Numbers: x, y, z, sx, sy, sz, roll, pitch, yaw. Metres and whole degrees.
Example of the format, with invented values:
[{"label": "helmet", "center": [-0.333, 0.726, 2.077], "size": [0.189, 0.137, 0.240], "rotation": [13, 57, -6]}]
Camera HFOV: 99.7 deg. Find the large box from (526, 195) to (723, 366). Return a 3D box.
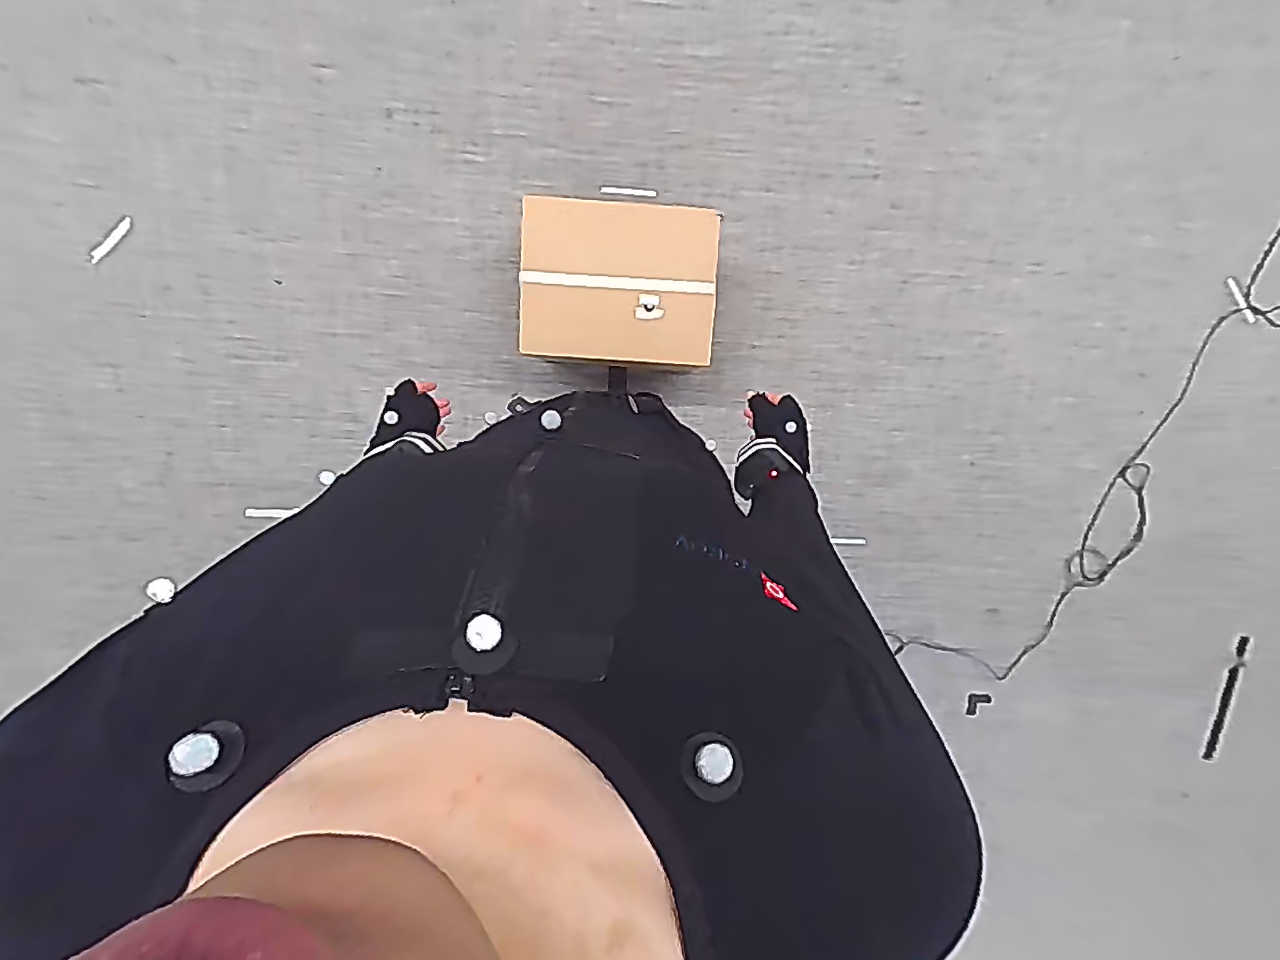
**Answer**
[{"label": "large box", "center": [-0.041, -0.436, 1.259], "size": [0.408, 0.320, 0.320], "rotation": [3, 100, -2]}]
